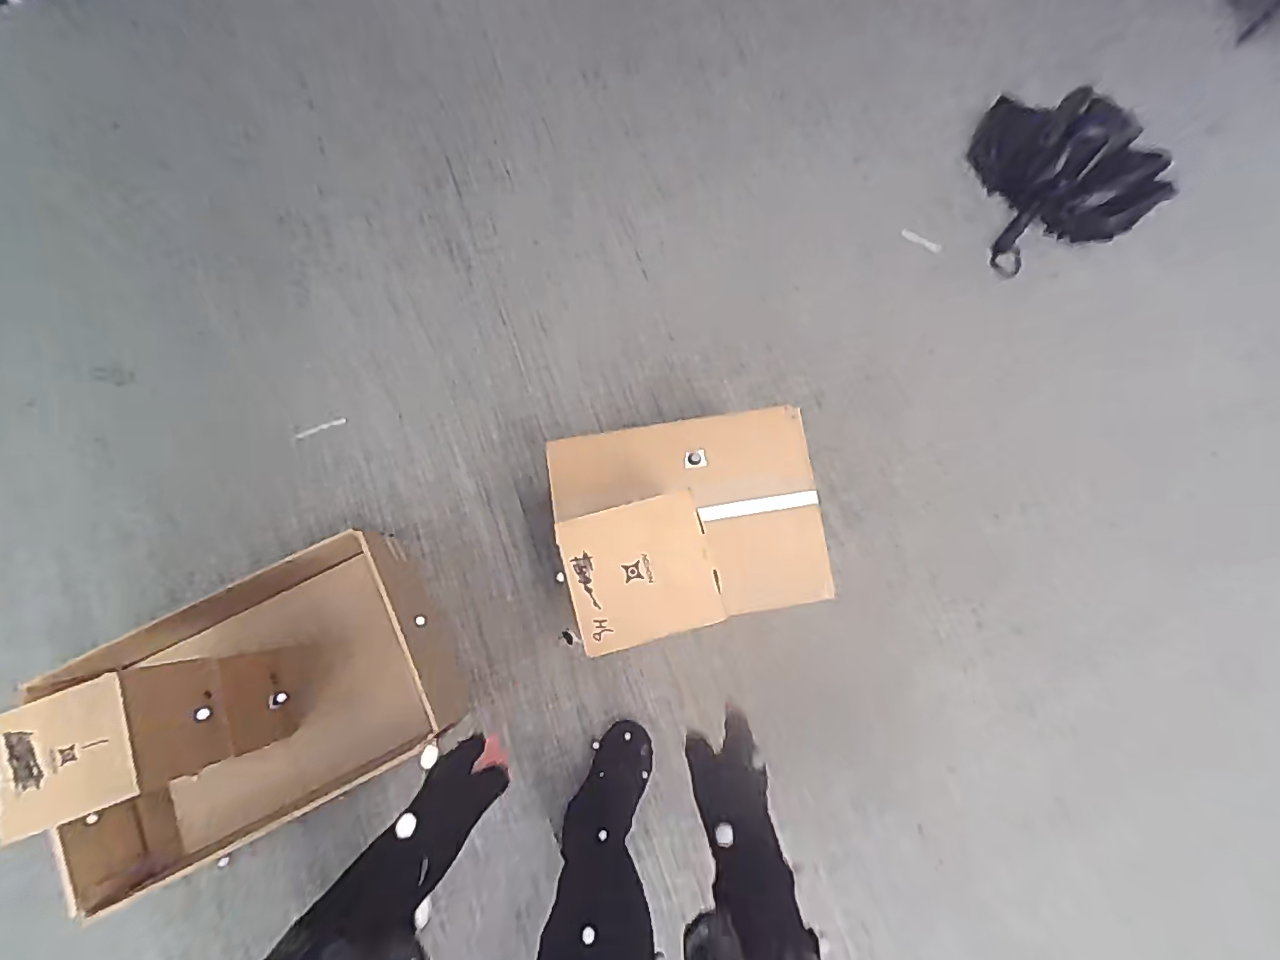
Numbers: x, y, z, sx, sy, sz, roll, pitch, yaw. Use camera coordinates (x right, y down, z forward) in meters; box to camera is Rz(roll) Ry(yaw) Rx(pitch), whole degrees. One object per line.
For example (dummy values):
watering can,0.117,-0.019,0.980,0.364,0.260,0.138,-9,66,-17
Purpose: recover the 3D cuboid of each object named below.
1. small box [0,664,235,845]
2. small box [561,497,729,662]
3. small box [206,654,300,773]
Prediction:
small box,-0.748,0.384,0.791,0.179,0.176,0.168,-20,79,-6
small box,0.003,0.131,0.731,0.179,0.176,0.168,-14,80,-3
small box,-0.747,0.419,0.951,0.179,0.176,0.168,-19,79,-6
